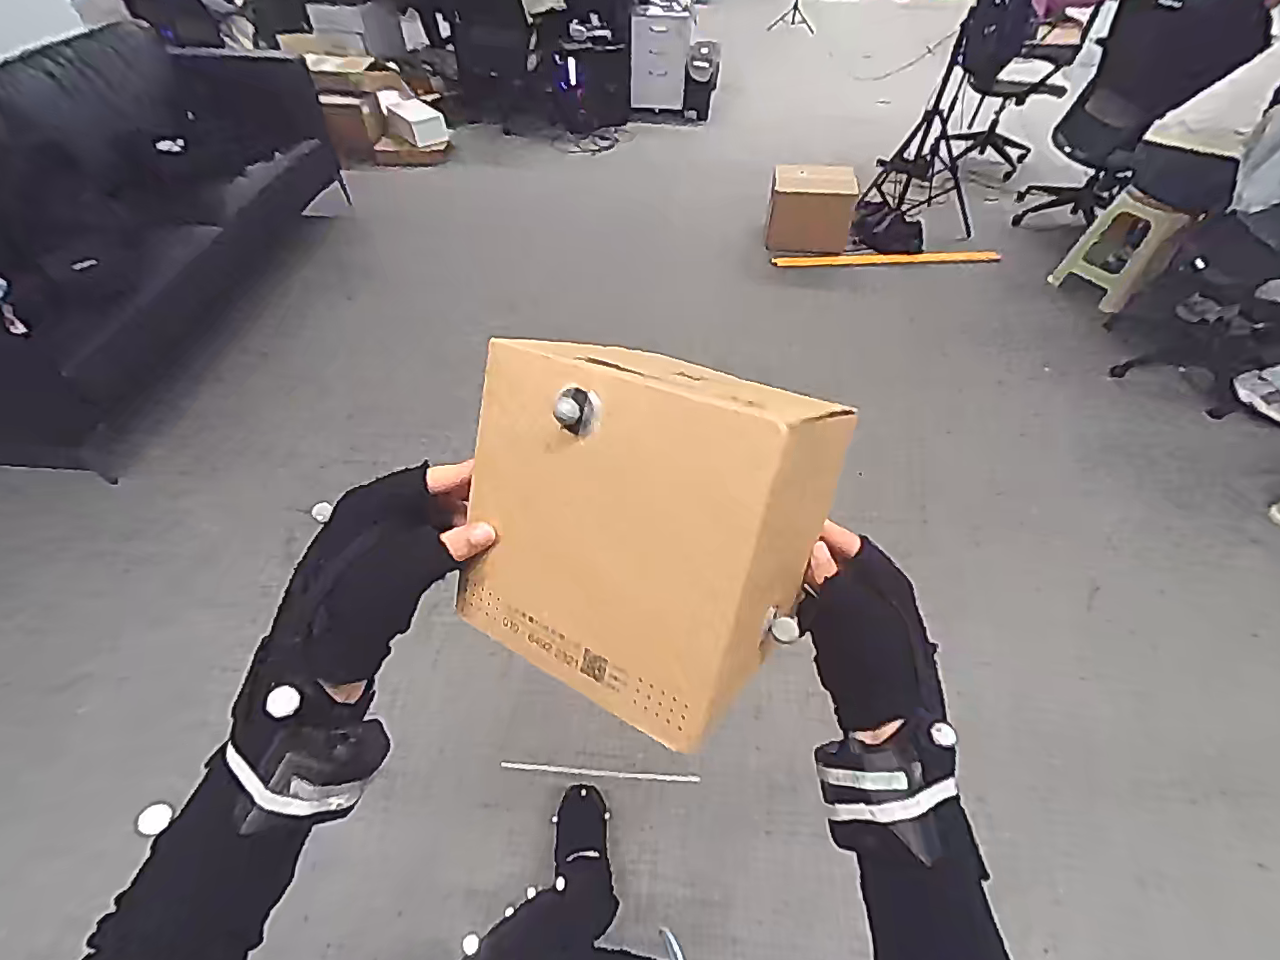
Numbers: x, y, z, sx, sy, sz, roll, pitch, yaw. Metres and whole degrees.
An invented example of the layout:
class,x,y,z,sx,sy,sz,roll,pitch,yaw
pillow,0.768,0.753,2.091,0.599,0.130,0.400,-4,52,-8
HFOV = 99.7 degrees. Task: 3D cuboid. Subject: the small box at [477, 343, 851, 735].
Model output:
class,x,y,z,sx,sy,sz,roll,pitch,yaw
small box,0.017,0.019,0.353,0.168,0.176,0.179,21,18,26
